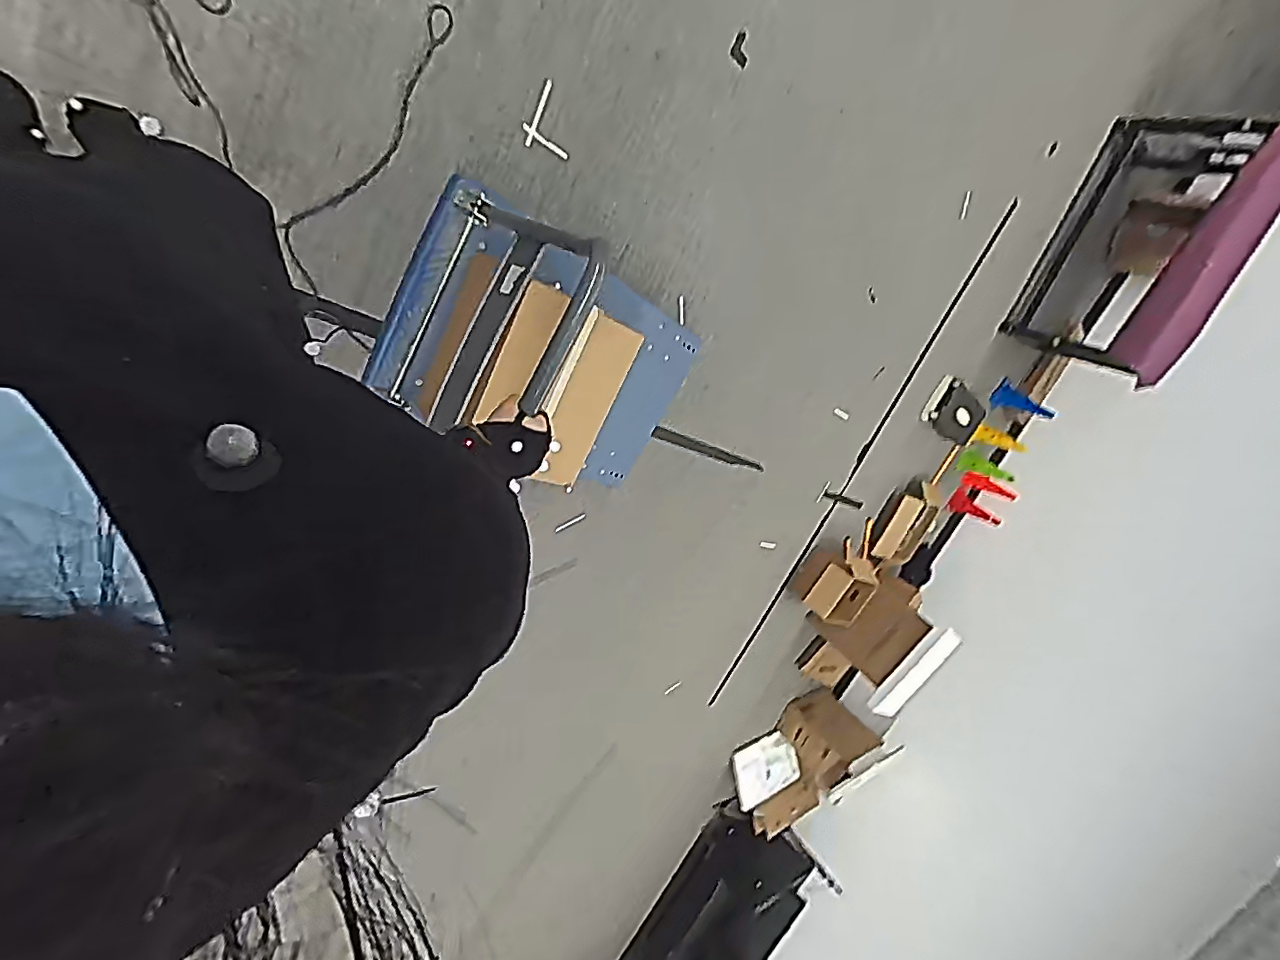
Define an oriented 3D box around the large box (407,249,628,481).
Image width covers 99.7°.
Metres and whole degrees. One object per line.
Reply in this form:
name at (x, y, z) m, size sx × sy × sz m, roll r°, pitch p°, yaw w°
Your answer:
large box at (-0.299, -0.264, 1.280) m, size 0.320 × 0.320 × 0.408 m, roll 14°, pitch 110°, yaw -44°
